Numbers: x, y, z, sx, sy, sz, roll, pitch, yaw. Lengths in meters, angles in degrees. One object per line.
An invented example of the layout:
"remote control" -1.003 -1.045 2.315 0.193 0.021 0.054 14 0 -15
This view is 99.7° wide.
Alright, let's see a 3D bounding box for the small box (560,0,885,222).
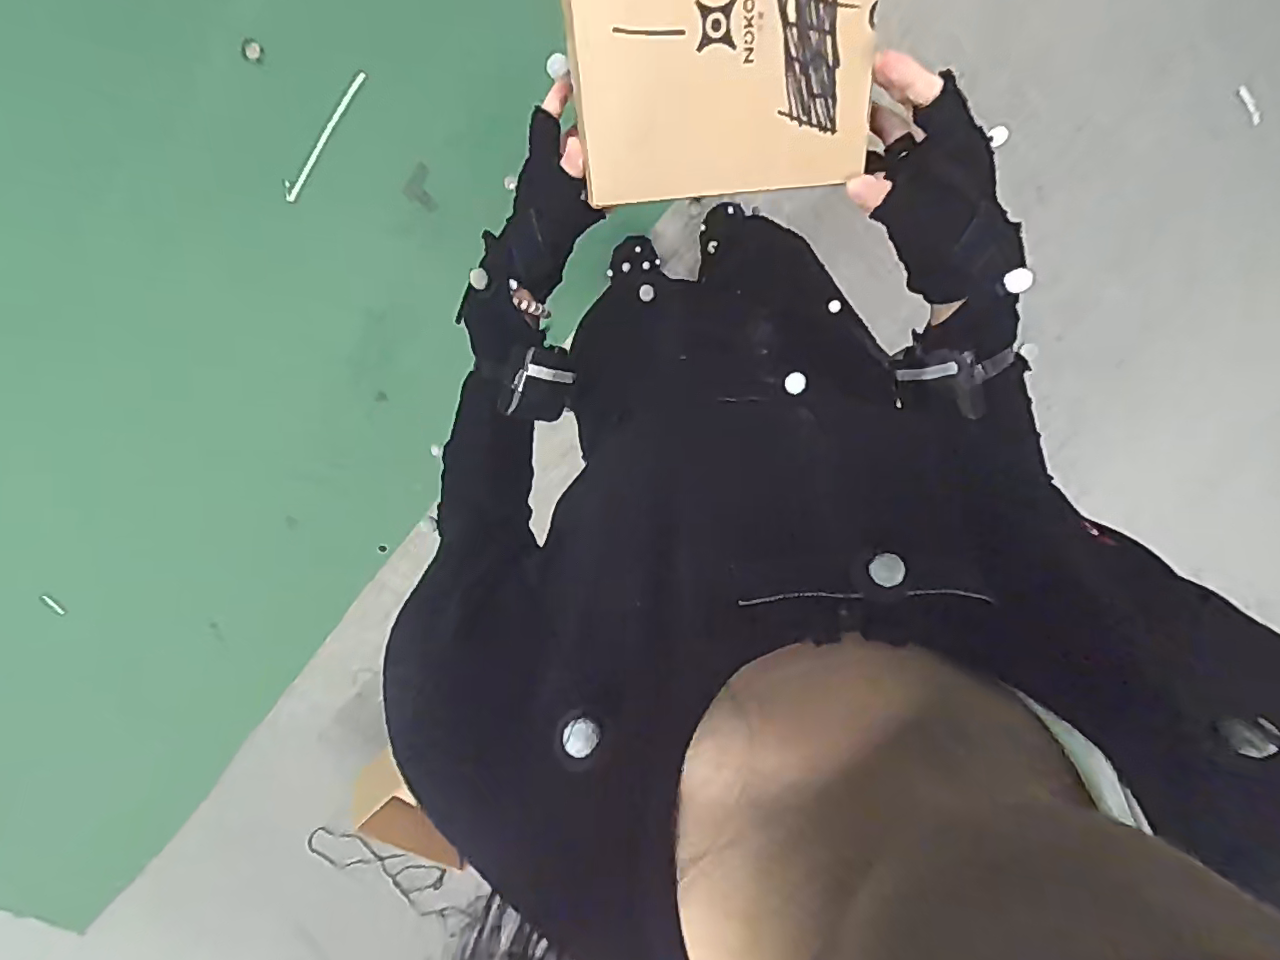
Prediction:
"small box" 0.041 -0.277 0.365 0.179 0.176 0.168 -7 119 -3
